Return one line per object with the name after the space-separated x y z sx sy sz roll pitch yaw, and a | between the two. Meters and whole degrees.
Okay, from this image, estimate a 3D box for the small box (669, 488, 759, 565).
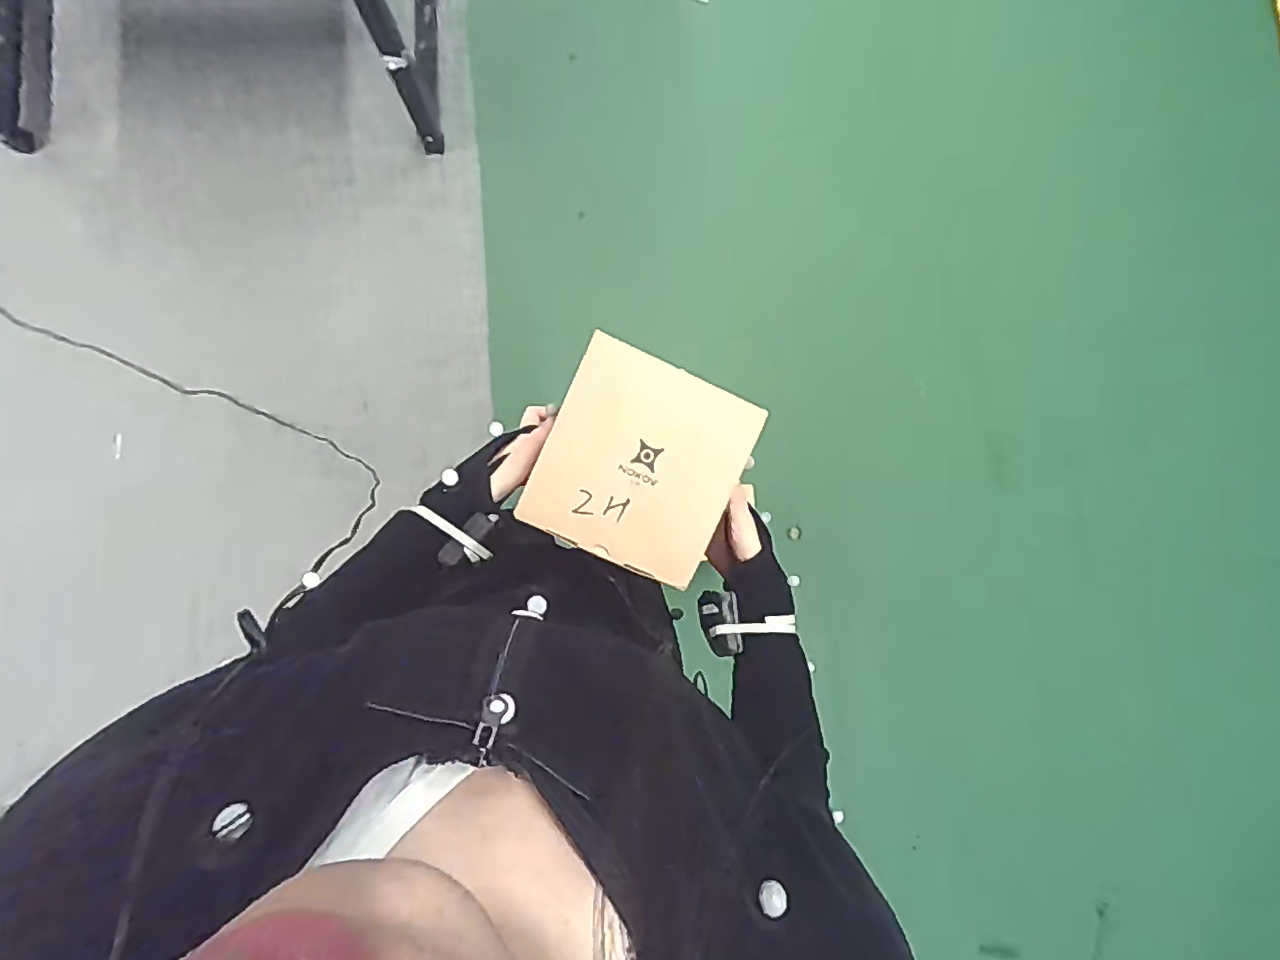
0.167 0.106 1.270 0.179 0.176 0.168 -3 86 -4 | small box
